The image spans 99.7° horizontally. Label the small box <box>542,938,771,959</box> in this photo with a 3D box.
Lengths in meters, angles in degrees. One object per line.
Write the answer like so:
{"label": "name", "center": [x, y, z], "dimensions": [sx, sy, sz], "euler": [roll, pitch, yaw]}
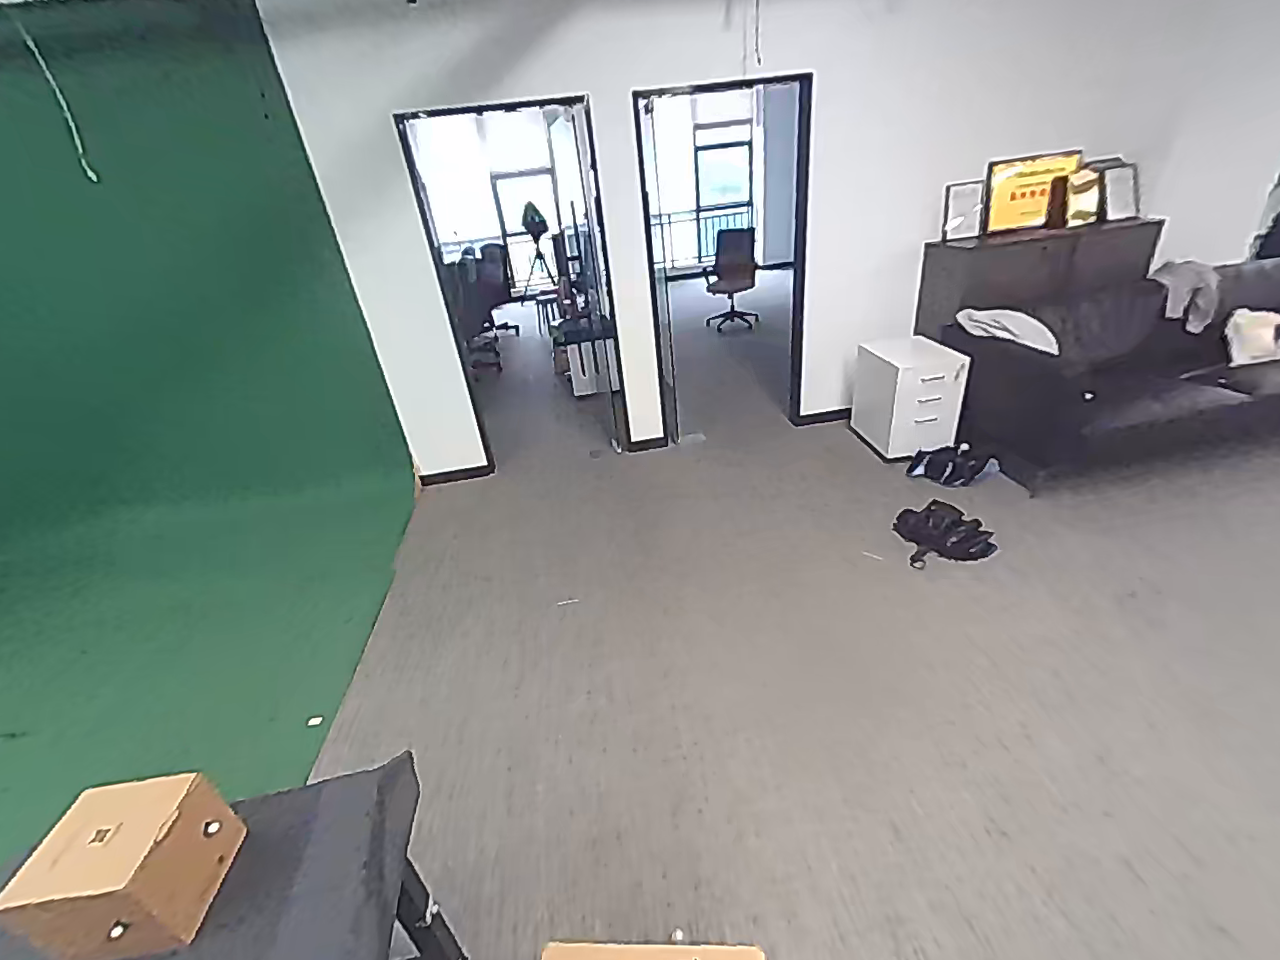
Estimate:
{"label": "small box", "center": [0.016, 0.448, 0.367], "dimensions": [0.168, 0.176, 0.179], "euler": [-3, 36, 6]}

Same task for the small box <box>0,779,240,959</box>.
{"label": "small box", "center": [-0.743, 0.580, 0.794], "dimensions": [0.179, 0.176, 0.168], "euler": [-9, 26, -3]}
